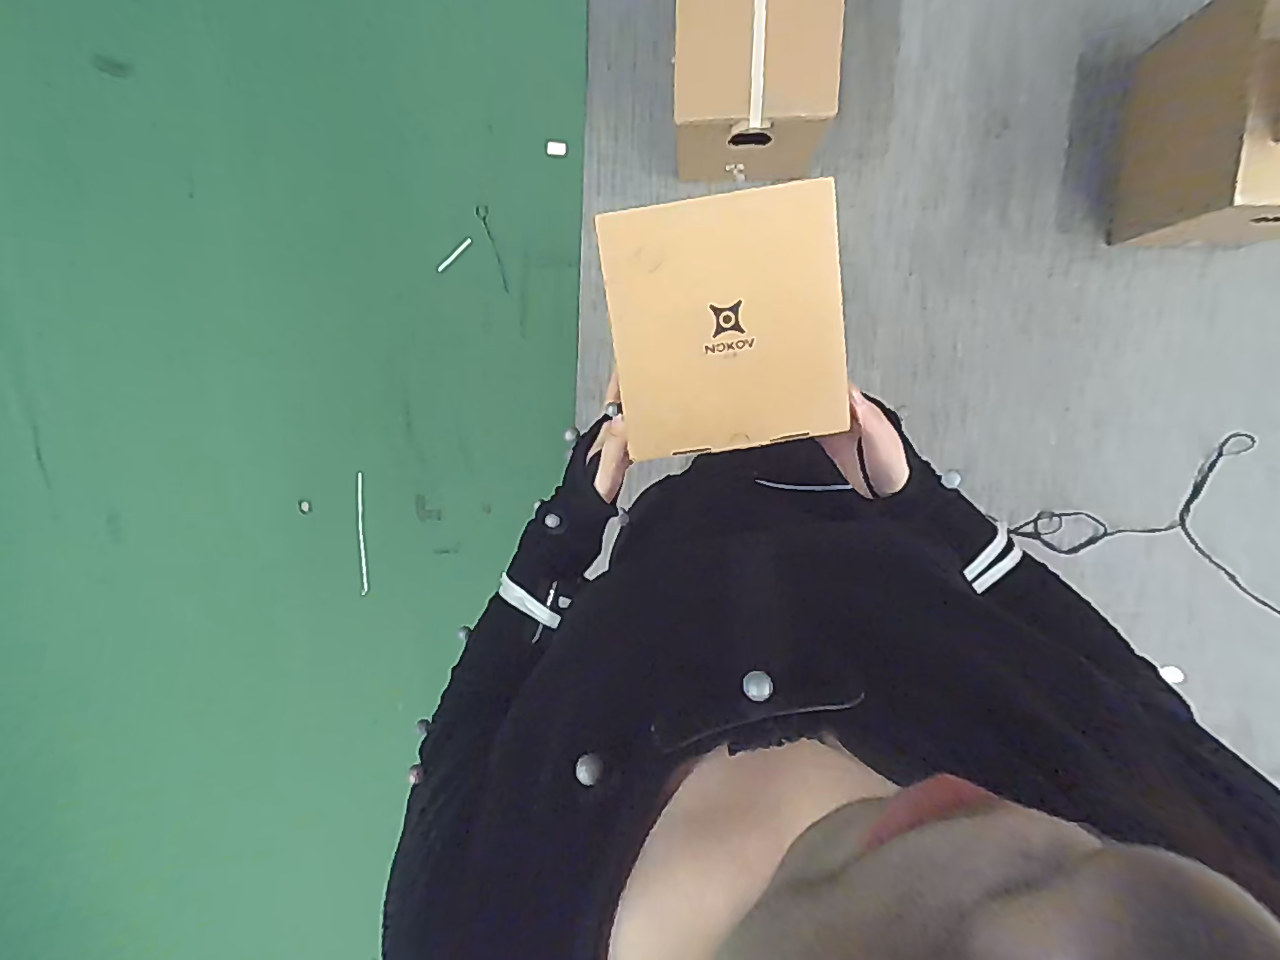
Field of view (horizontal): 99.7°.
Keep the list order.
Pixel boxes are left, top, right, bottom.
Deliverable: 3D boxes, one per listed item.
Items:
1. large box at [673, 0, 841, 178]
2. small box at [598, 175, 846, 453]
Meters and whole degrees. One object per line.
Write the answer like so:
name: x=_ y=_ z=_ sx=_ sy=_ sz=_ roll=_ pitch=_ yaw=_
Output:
large box: x=0.240 y=-0.925 z=1.160 sx=0.320 sy=0.320 sz=0.408 roll=2 pitch=99 yaw=6
small box: x=0.061 y=-0.130 z=0.464 sx=0.168 sy=0.176 sz=0.179 roll=-8 pitch=103 yaw=2
